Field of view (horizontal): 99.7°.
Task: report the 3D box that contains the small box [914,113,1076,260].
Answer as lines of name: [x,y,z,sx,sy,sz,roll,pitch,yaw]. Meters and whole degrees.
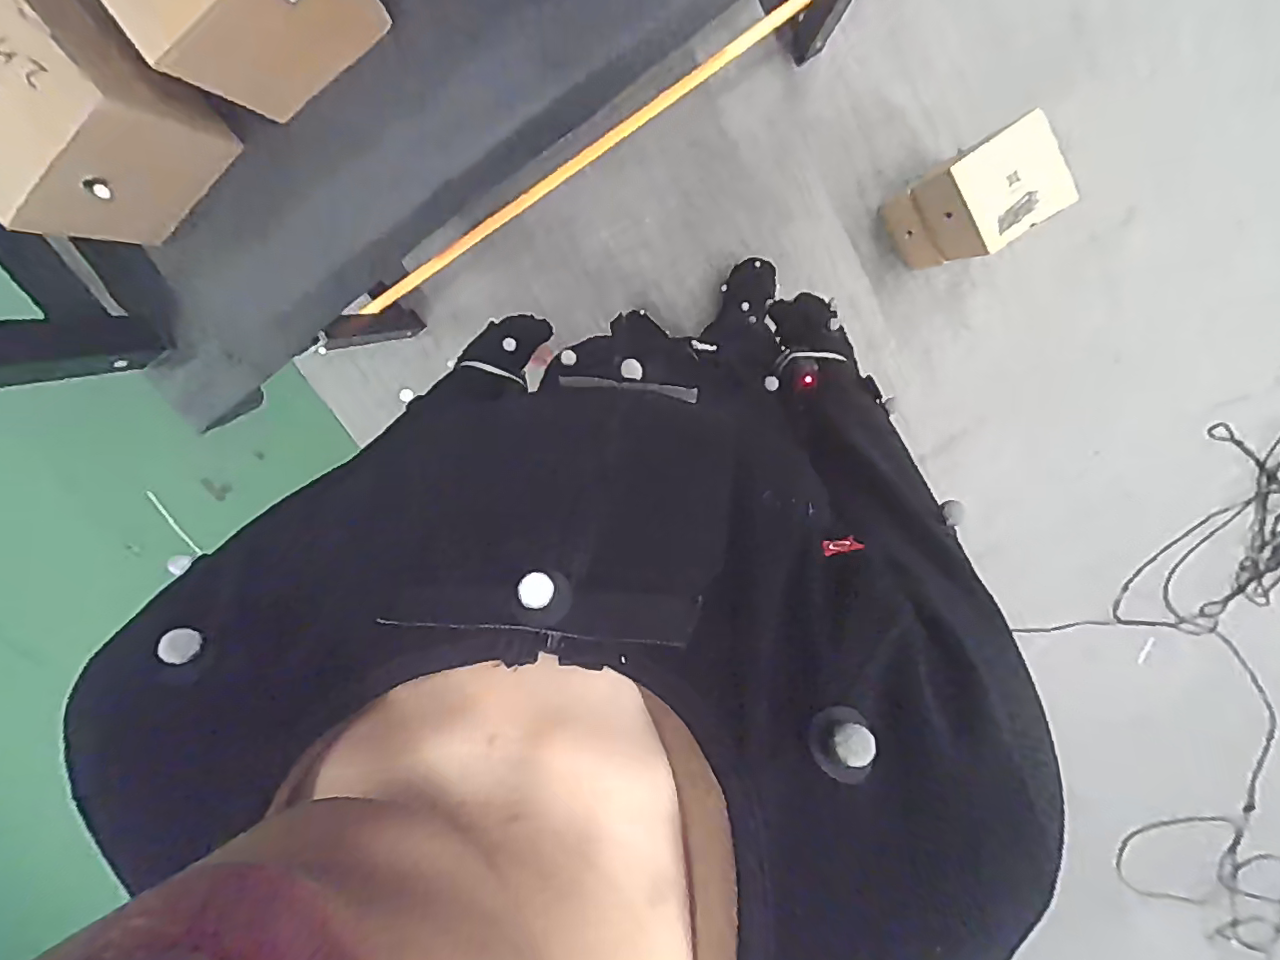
small box: [0.659,-0.537,1.024,0.168,0.176,0.179,-32,102,13]
